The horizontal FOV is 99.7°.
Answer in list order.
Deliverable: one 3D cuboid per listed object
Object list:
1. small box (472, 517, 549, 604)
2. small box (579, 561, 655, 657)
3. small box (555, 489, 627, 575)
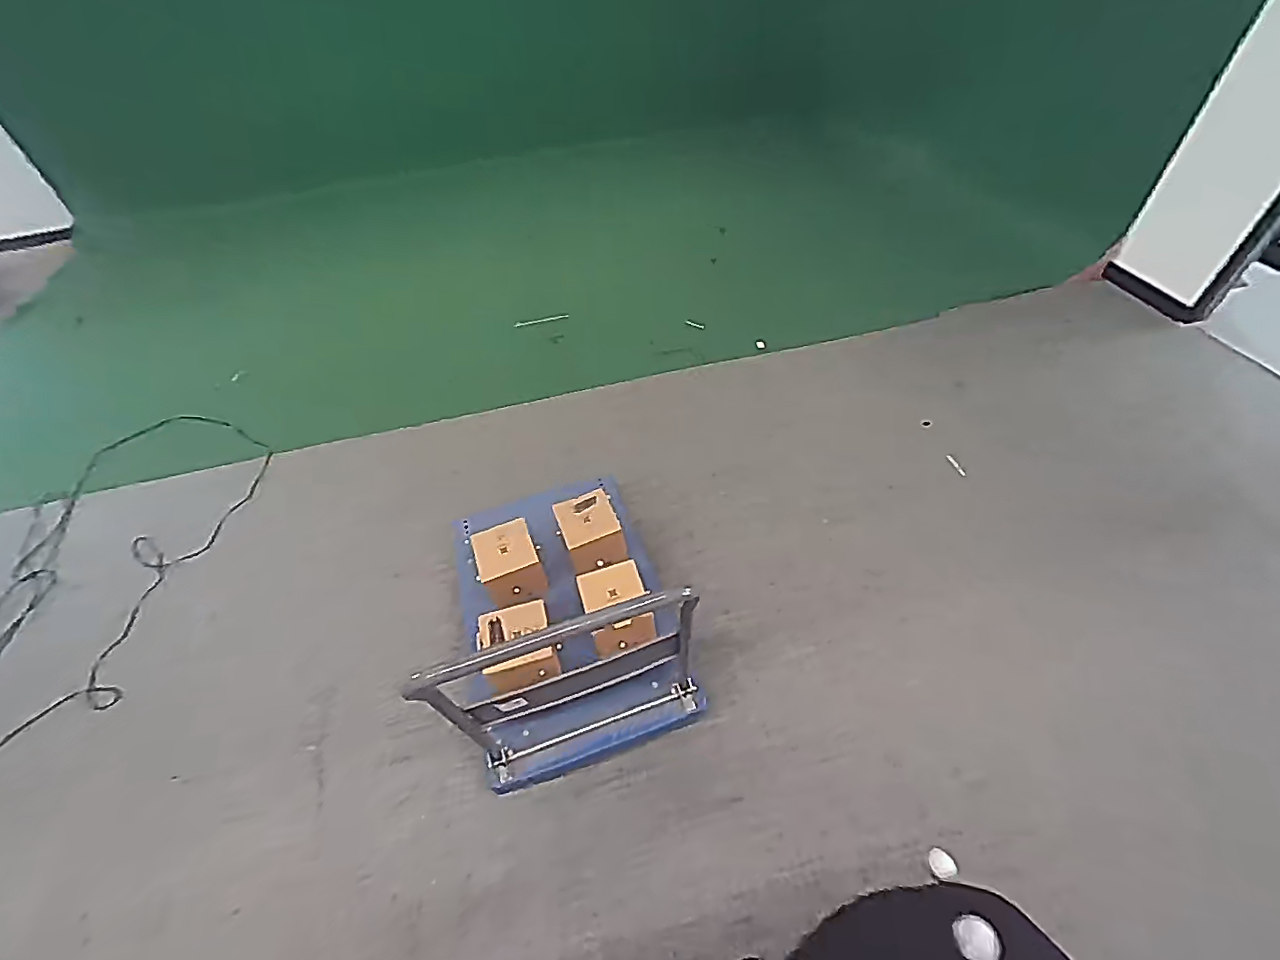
[{"bbox_3d":[-0.381,0.247,1.608,0.168,0.176,0.179,-19,51,-11],"label":"small box"},{"bbox_3d":[-0.062,0.355,1.488,0.168,0.176,0.179,-16,51,-8],"label":"small box"},{"bbox_3d":[-0.149,0.162,1.657,0.168,0.176,0.179,-20,52,-10],"label":"small box"}]
